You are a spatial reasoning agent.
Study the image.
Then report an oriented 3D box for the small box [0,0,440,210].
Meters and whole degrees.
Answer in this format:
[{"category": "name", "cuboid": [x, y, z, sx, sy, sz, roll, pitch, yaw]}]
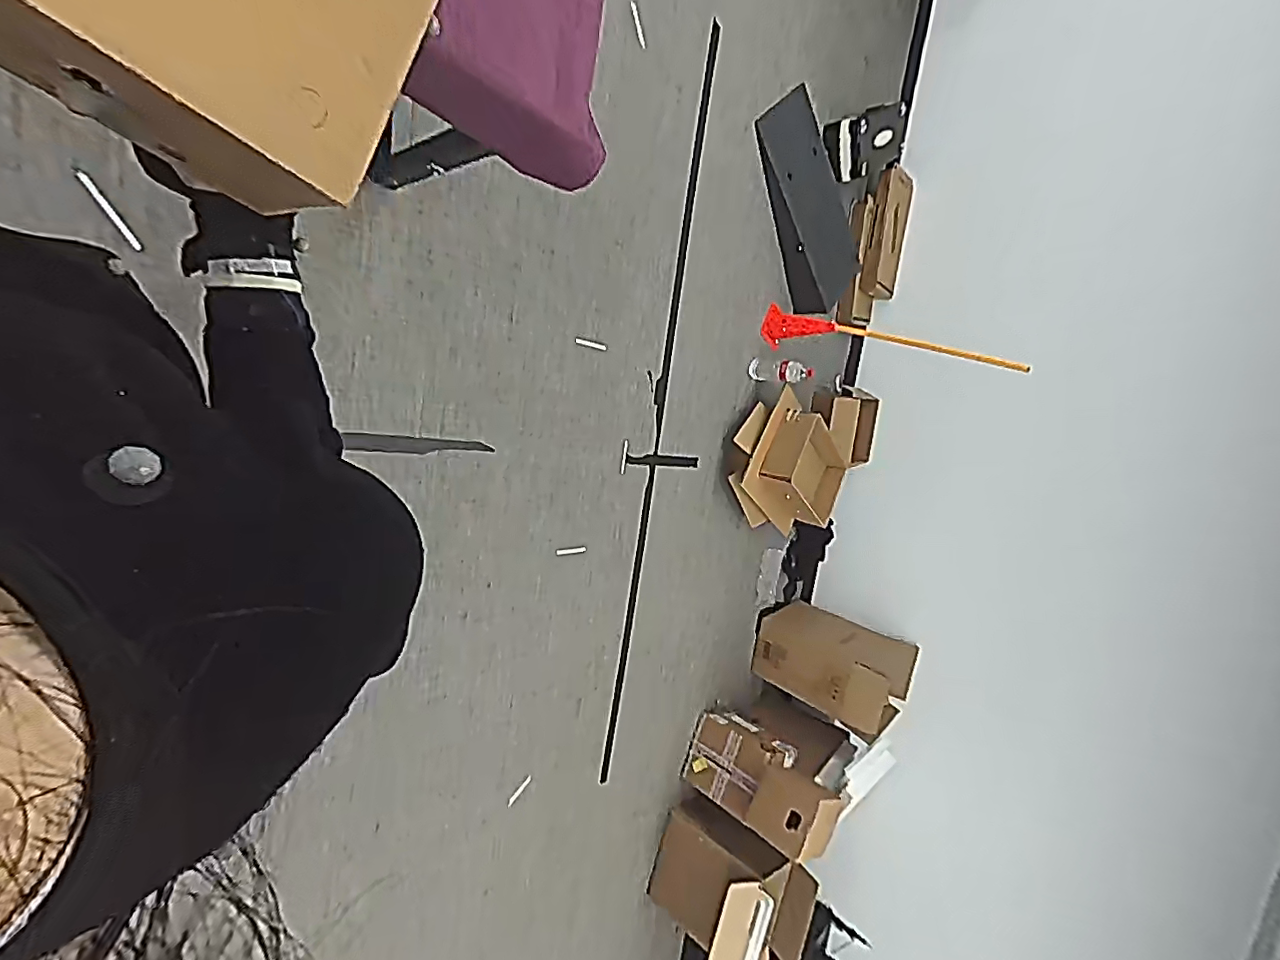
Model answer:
[{"category": "small box", "cuboid": [-0.238, -0.275, 0.299, 0.168, 0.176, 0.179, 23, 87, -51]}]
